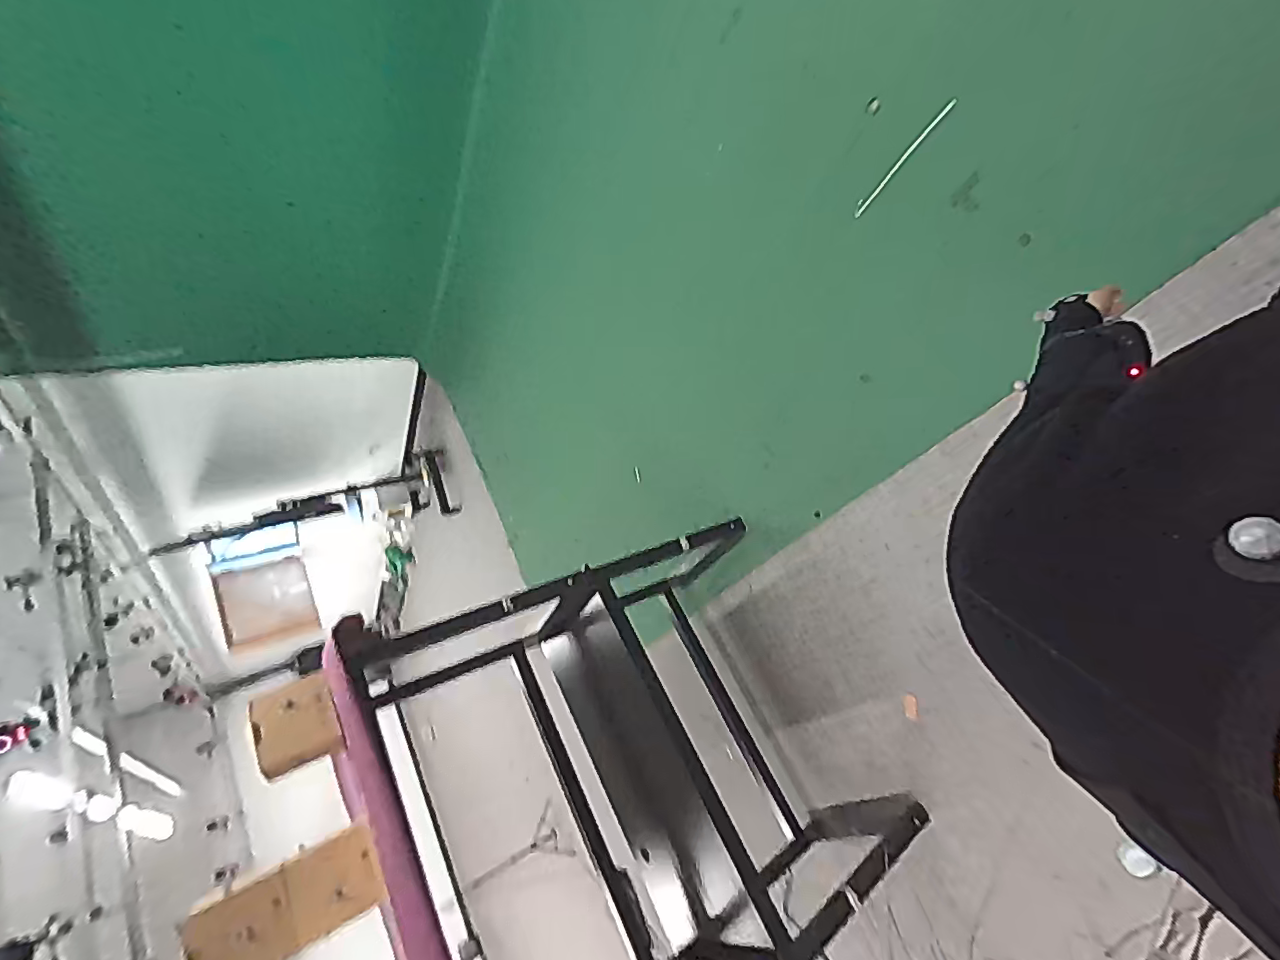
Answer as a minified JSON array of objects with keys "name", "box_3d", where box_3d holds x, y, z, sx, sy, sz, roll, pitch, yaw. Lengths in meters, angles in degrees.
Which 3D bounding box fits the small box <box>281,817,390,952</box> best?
[{"name":"small box","box_3d":[-0.658,0.864,1.177,0.168,0.176,0.179,64,144,15]}]

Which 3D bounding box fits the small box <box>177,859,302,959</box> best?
[{"name":"small box","box_3d":[-0.789,0.899,1.084,0.179,0.176,0.168,-45,66,51]}]

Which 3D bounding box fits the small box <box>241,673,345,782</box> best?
[{"name":"small box","box_3d":[-0.824,0.590,1.297,0.168,0.176,0.179,59,143,21]}]
